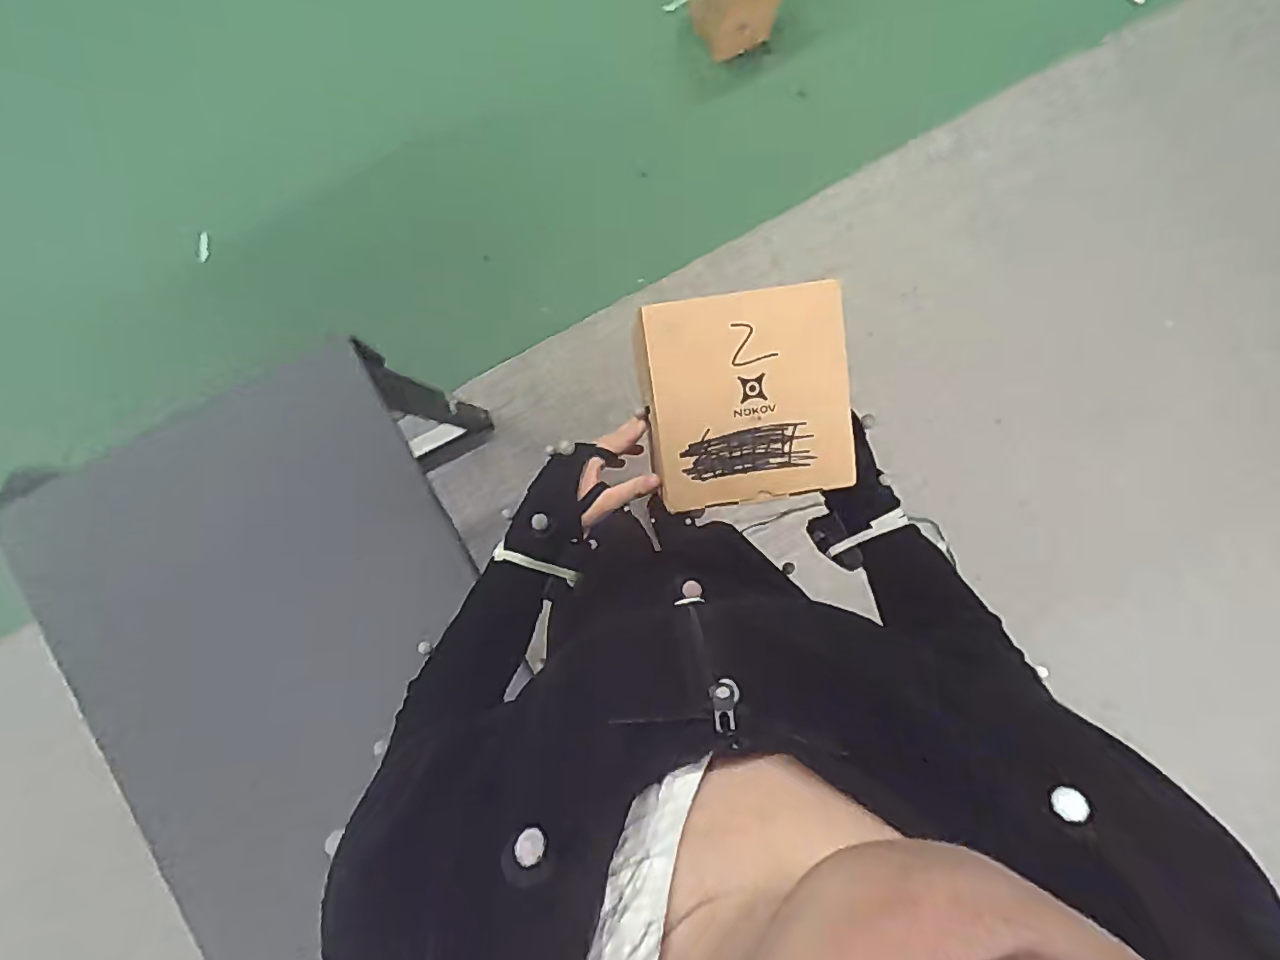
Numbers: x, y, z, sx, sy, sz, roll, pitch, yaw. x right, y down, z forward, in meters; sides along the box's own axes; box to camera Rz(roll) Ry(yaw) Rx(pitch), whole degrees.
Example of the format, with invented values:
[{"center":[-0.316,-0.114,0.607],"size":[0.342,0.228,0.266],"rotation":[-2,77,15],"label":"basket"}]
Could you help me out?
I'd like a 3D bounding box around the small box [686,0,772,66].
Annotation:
[{"center":[0.235,-1.261,1.443],"size":[0.168,0.176,0.179],"rotation":[-28,89,1],"label":"small box"}]
